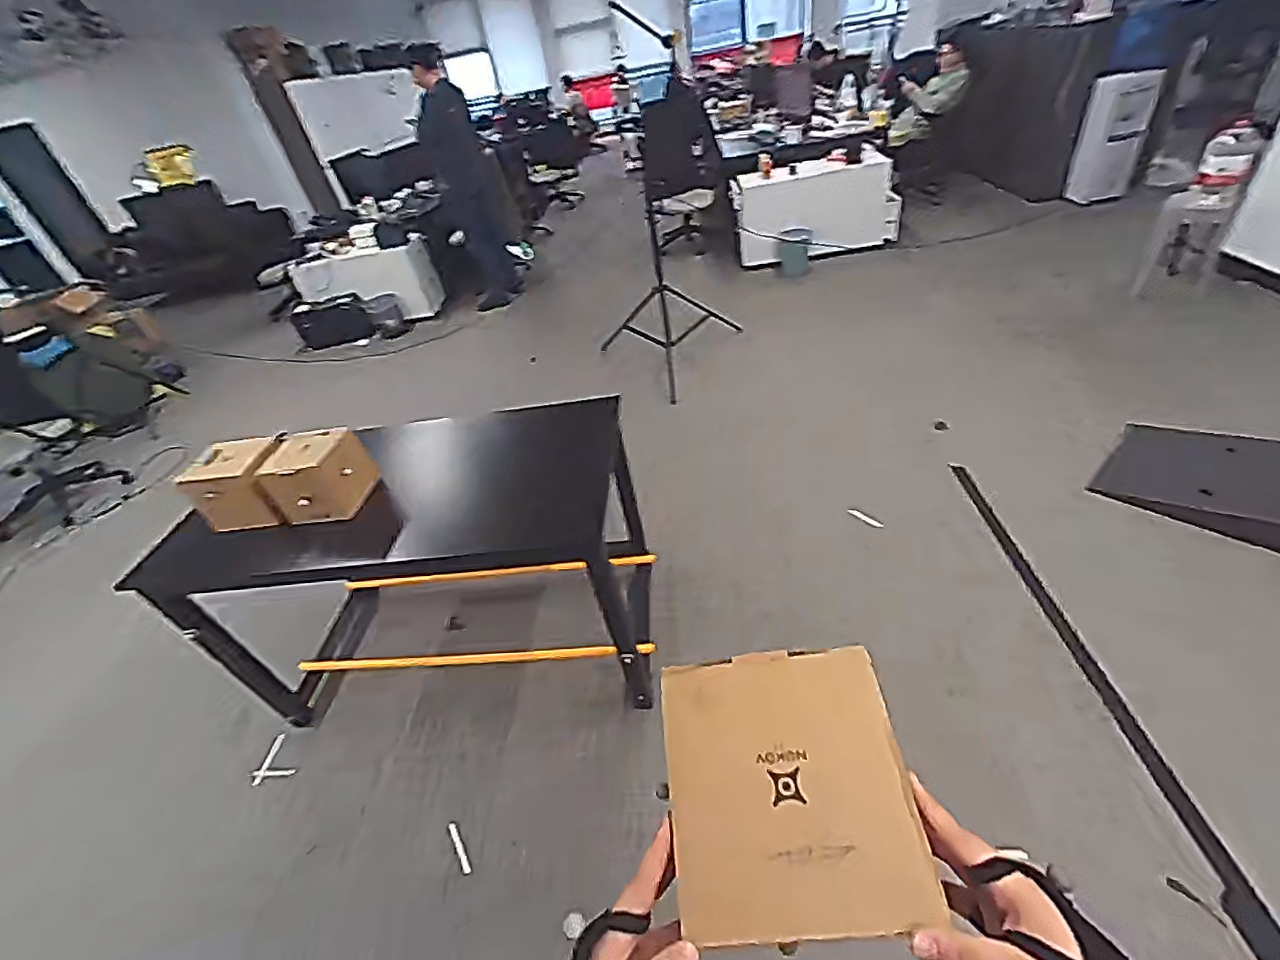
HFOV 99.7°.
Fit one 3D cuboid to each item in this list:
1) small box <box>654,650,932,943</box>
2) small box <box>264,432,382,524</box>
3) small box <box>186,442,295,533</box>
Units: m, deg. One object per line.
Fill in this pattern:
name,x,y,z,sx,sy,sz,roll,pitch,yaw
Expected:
small box,0.107,0.263,0.452,0.168,0.176,0.179,-9,54,5
small box,-0.802,0.001,1.392,0.168,0.176,0.179,-6,39,9
small box,-1.014,0.023,1.421,0.179,0.176,0.168,-7,38,6
